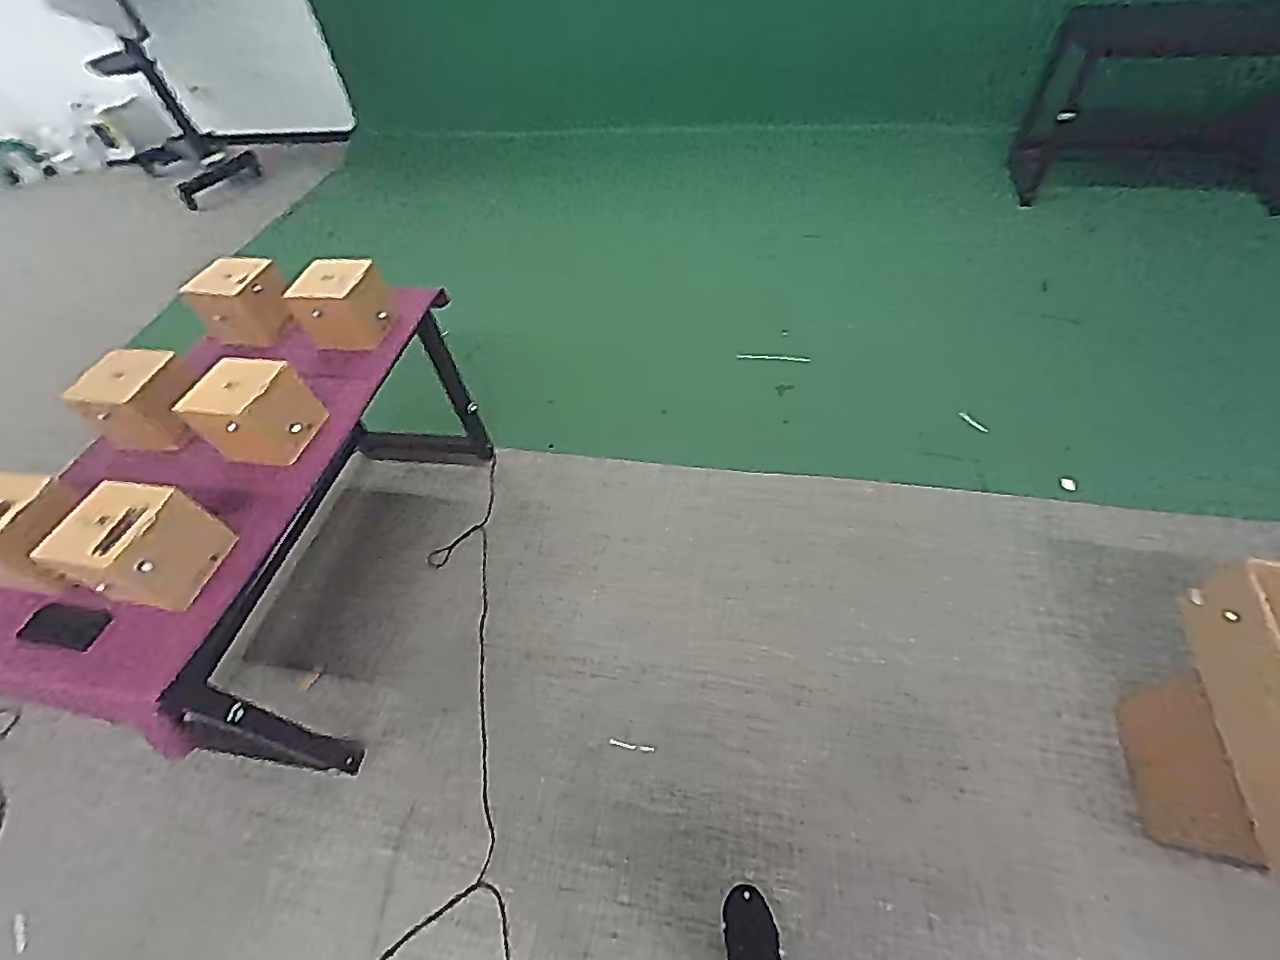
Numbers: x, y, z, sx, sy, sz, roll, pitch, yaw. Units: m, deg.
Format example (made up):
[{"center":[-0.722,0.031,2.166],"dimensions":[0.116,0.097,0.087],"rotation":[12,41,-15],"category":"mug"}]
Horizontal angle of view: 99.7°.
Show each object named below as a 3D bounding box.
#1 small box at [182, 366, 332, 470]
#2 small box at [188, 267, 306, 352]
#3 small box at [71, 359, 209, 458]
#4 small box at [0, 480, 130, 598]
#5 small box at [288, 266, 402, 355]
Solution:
[{"center":[-0.853,-0.139,1.223],"dimensions":[0.179,0.176,0.168],"rotation":[5,53,12],"category":"small box"},{"center":[-1.086,-0.476,1.515],"dimensions":[0.179,0.176,0.168],"rotation":[5,54,11],"category":"small box"},{"center":[-1.152,-0.169,1.286],"dimensions":[0.179,0.176,0.168],"rotation":[4,54,9],"category":"small box"},{"center":[-1.184,0.120,1.063],"dimensions":[0.179,0.176,0.168],"rotation":[3,53,10],"category":"small box"},{"center":[-0.783,-0.454,1.454],"dimensions":[0.179,0.176,0.168],"rotation":[4,54,10],"category":"small box"}]
